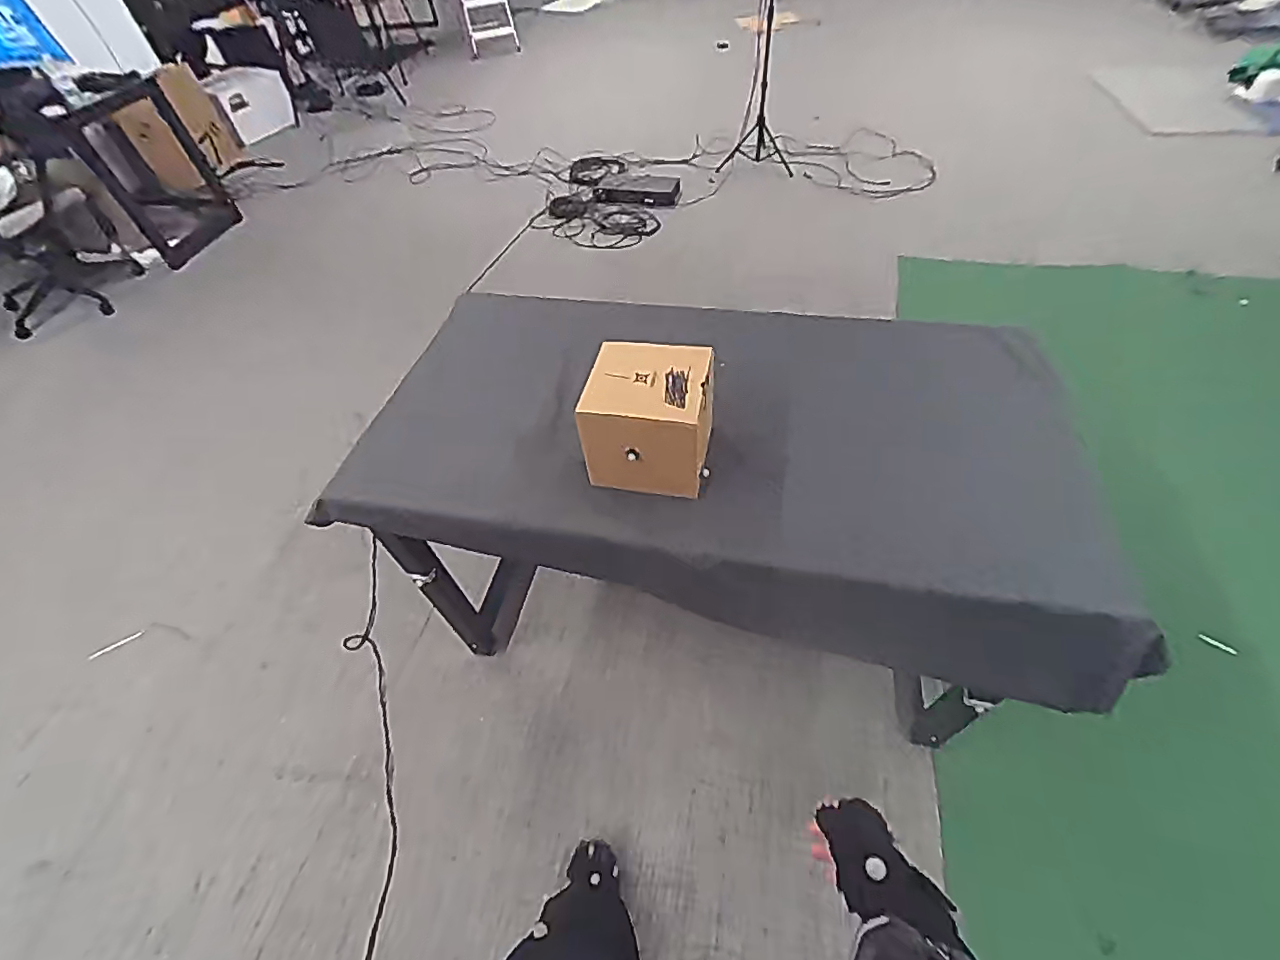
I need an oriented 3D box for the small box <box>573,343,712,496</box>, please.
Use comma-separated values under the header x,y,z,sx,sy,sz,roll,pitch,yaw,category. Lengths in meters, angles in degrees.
x,y,z,sx,sy,sz,roll,pitch,yaw,category
0.014,-0.092,0.851,0.179,0.176,0.168,7,52,12,small box
